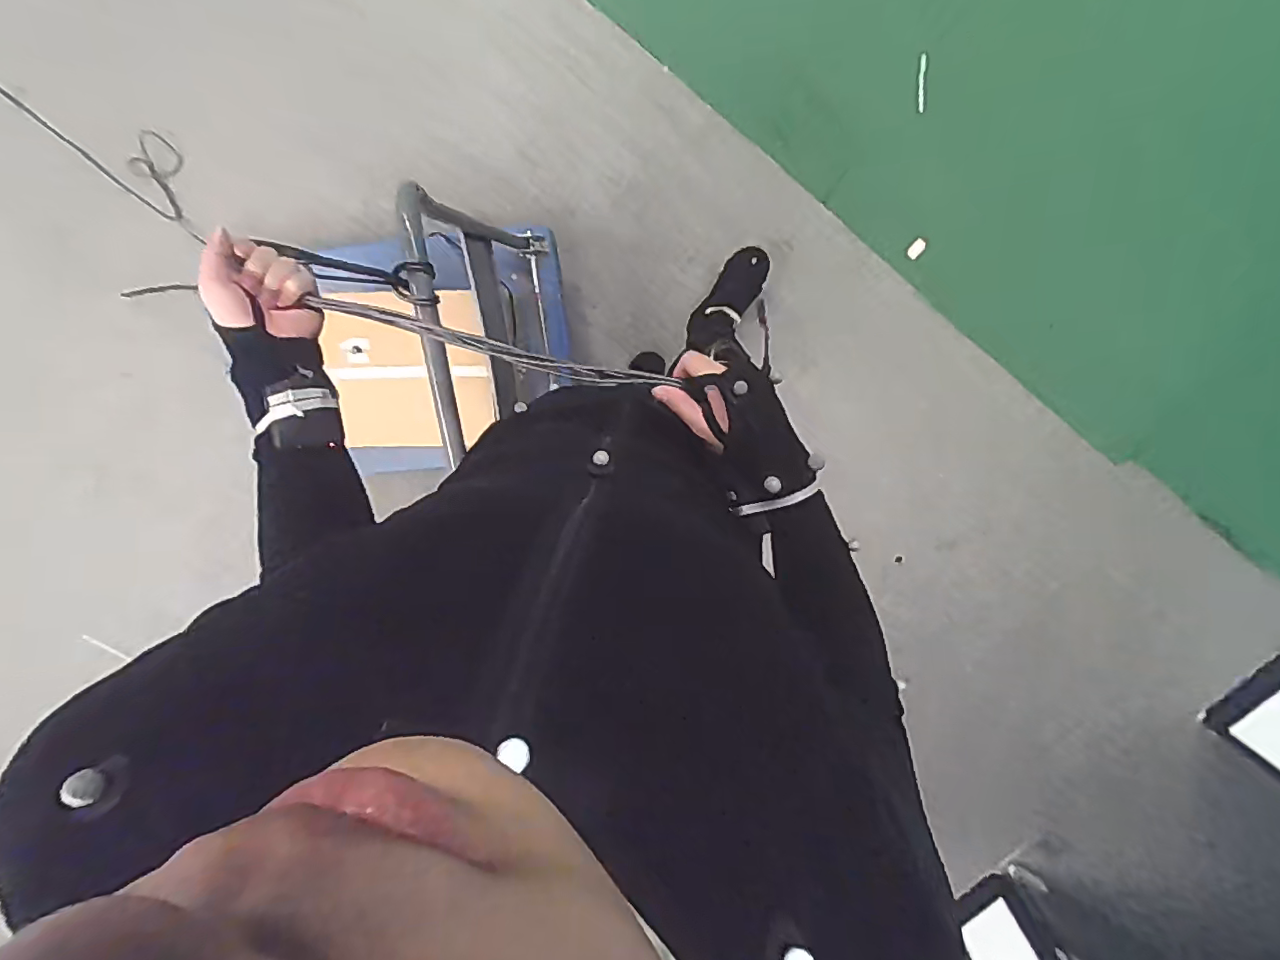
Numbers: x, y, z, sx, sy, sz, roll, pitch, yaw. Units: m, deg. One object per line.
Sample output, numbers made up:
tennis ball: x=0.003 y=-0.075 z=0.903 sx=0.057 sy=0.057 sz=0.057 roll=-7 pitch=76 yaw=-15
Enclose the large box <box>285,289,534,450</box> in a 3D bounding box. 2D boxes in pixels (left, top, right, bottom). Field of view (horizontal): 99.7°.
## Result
large box: x=-0.482 y=-0.260 z=1.228 sx=0.408 sy=0.320 sz=0.320 roll=0 pitch=107 yaw=3
